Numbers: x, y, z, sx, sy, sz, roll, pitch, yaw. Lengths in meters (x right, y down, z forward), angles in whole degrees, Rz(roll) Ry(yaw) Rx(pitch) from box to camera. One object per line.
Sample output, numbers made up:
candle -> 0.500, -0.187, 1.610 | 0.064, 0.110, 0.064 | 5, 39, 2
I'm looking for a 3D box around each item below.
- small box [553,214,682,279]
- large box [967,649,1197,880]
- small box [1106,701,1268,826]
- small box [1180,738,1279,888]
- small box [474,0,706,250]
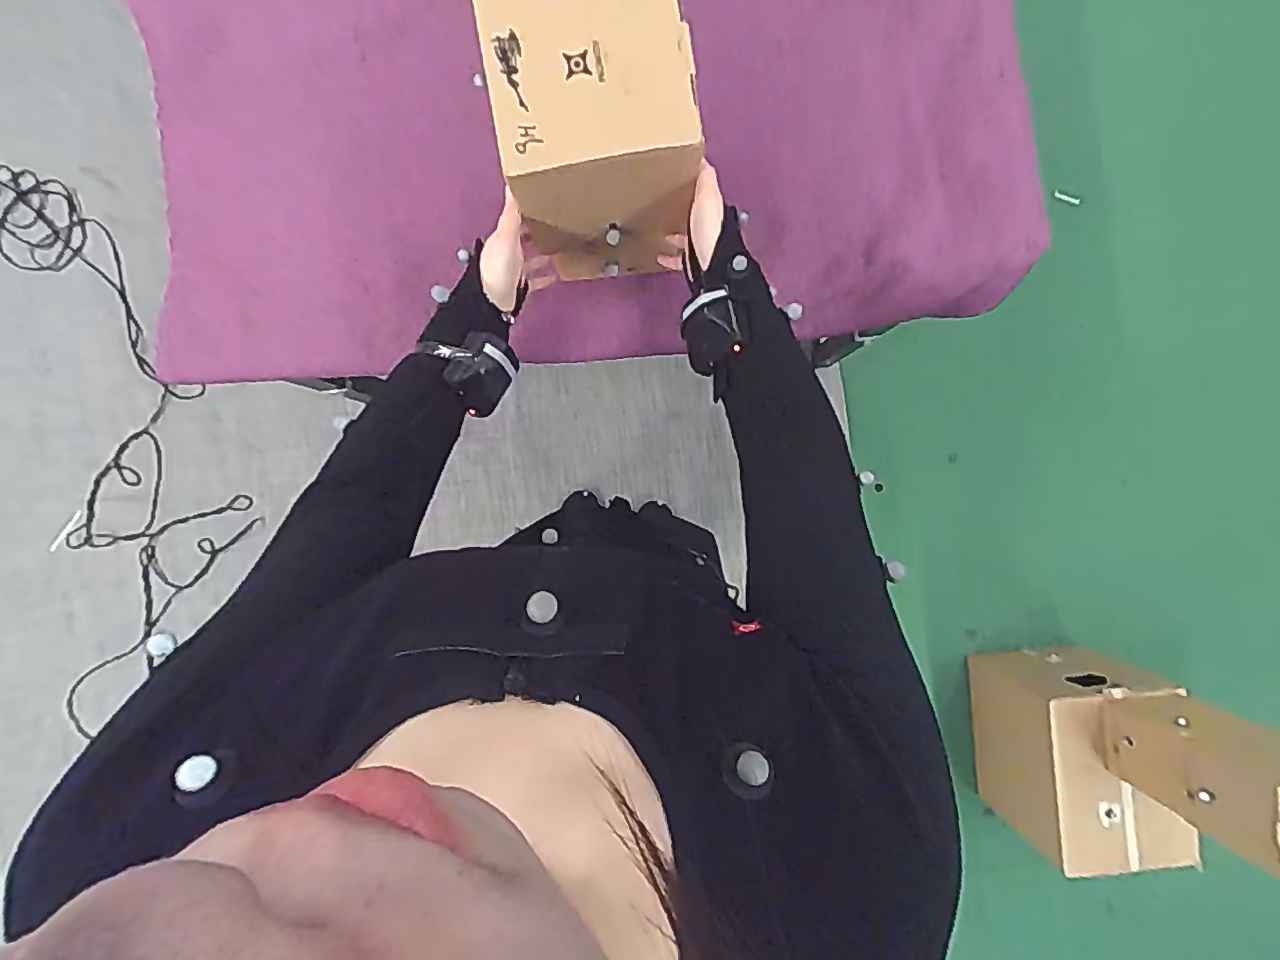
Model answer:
small box -> -0.040, -0.380, 0.695 | 0.168, 0.176, 0.179 | -5, 90, 0
large box -> 1.075, 0.681, 1.353 | 0.320, 0.320, 0.408 | -5, 91, 1
small box -> 1.116, 0.571, 1.111 | 0.179, 0.176, 0.168 | -5, 91, 0
small box -> 1.115, 0.574, 0.946 | 0.179, 0.176, 0.168 | -6, 90, 0
small box -> -0.044, -0.348, 0.528 | 0.179, 0.176, 0.168 | -9, 89, -1
